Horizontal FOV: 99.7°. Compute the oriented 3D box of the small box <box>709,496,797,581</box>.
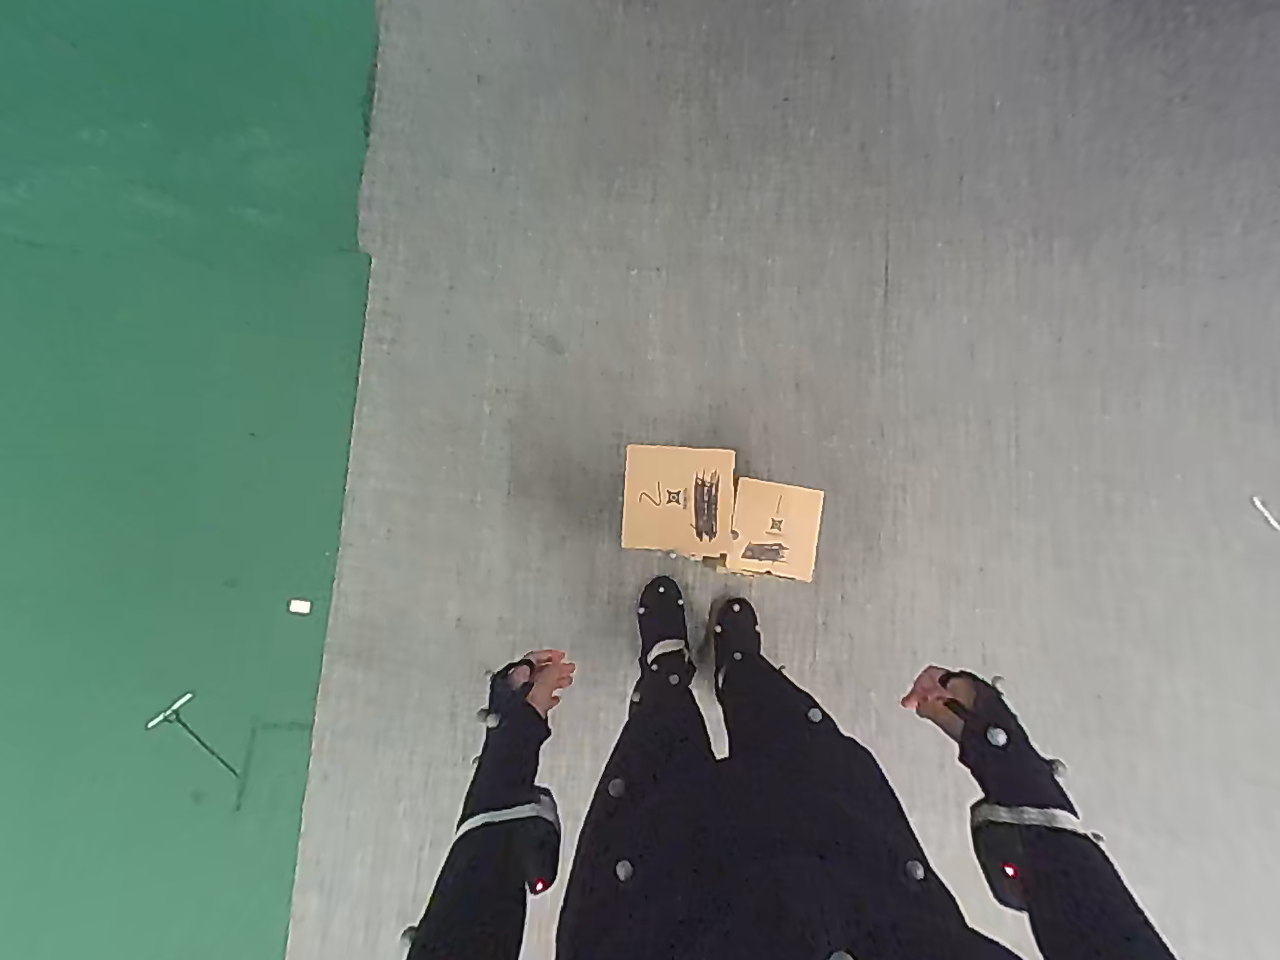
[{"bbox_3d":[0.255,0.134,1.250,0.168,0.176,0.179,4,85,0],"label":"small box"}]
